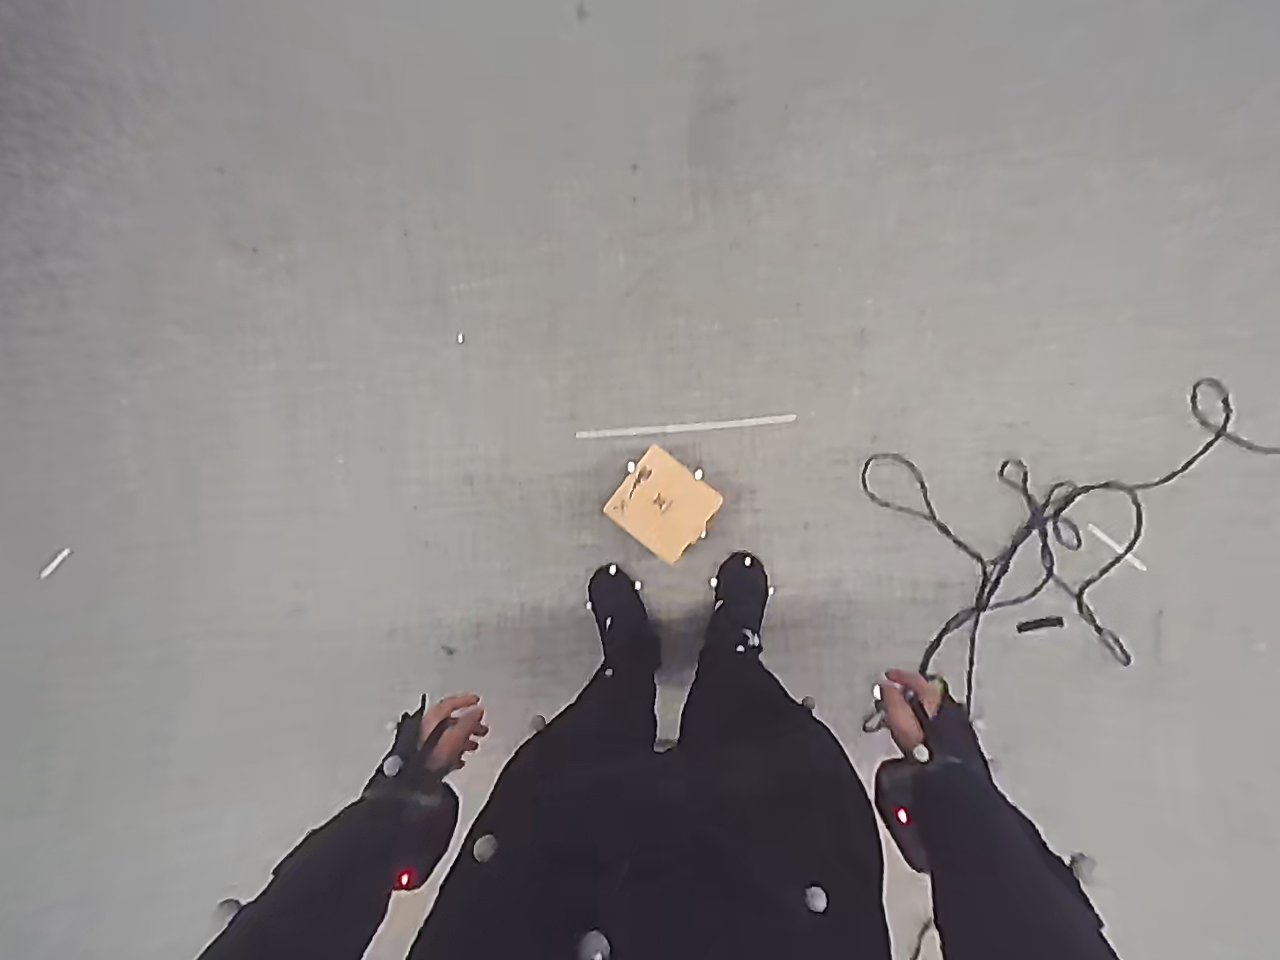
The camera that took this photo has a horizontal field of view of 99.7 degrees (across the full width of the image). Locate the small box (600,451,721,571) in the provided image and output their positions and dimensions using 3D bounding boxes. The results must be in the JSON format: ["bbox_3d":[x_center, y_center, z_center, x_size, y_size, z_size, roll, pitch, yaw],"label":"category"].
[{"bbox_3d":[0.046,0.058,1.106,0.179,0.176,0.168,39,92,5],"label":"small box"}]
